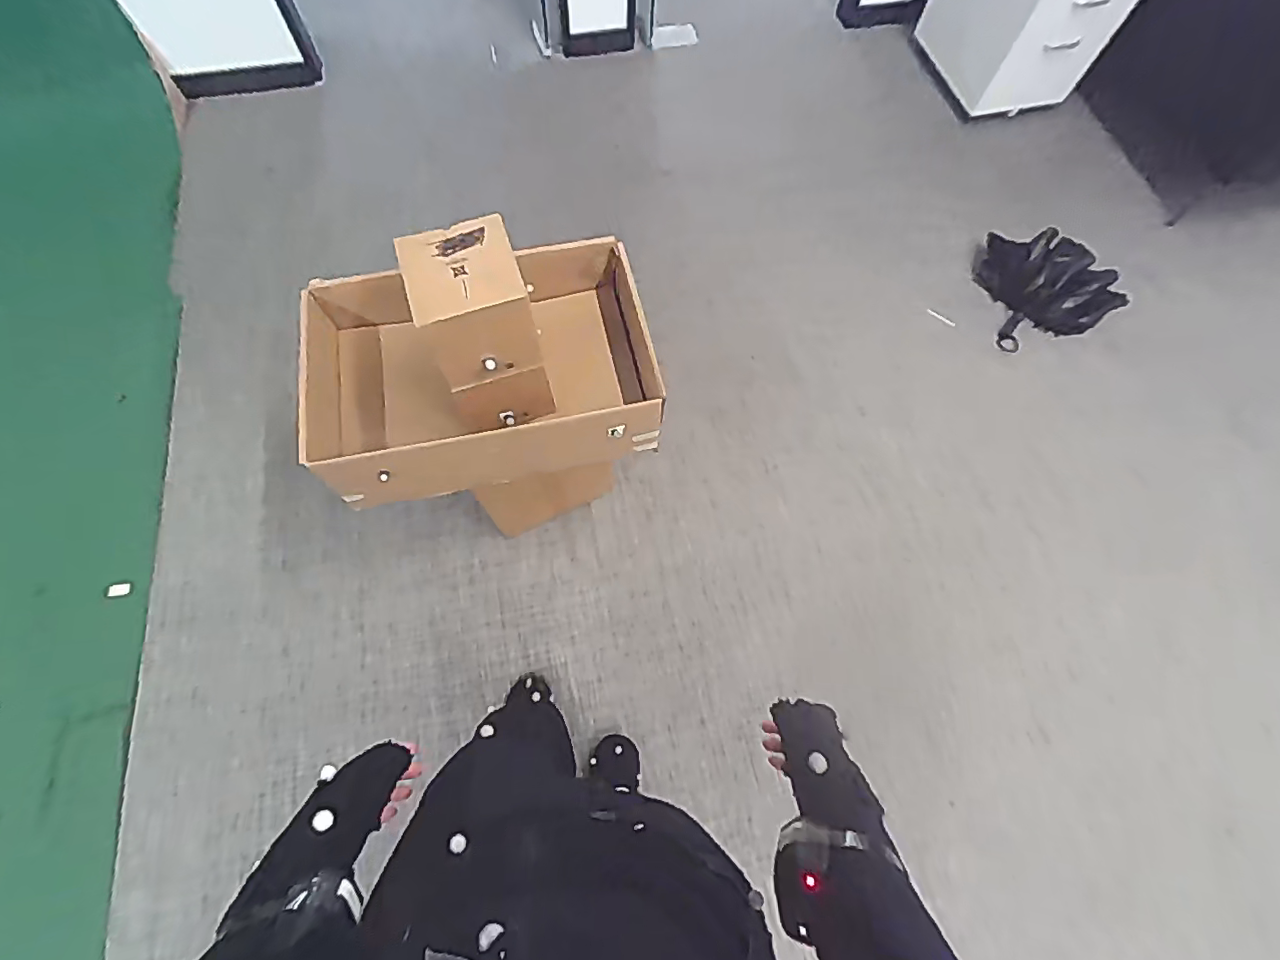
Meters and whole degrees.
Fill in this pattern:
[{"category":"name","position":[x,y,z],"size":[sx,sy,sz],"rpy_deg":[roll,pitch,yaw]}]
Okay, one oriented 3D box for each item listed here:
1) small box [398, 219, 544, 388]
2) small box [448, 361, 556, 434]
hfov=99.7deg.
[{"category":"small box","position":[-0.267,-0.281,0.879],"size":[0.168,0.176,0.179],"rpy_deg":[-18,69,-7]},{"category":"small box","position":[-0.269,-0.215,1.029],"size":[0.168,0.176,0.179],"rpy_deg":[-18,69,-7]}]
